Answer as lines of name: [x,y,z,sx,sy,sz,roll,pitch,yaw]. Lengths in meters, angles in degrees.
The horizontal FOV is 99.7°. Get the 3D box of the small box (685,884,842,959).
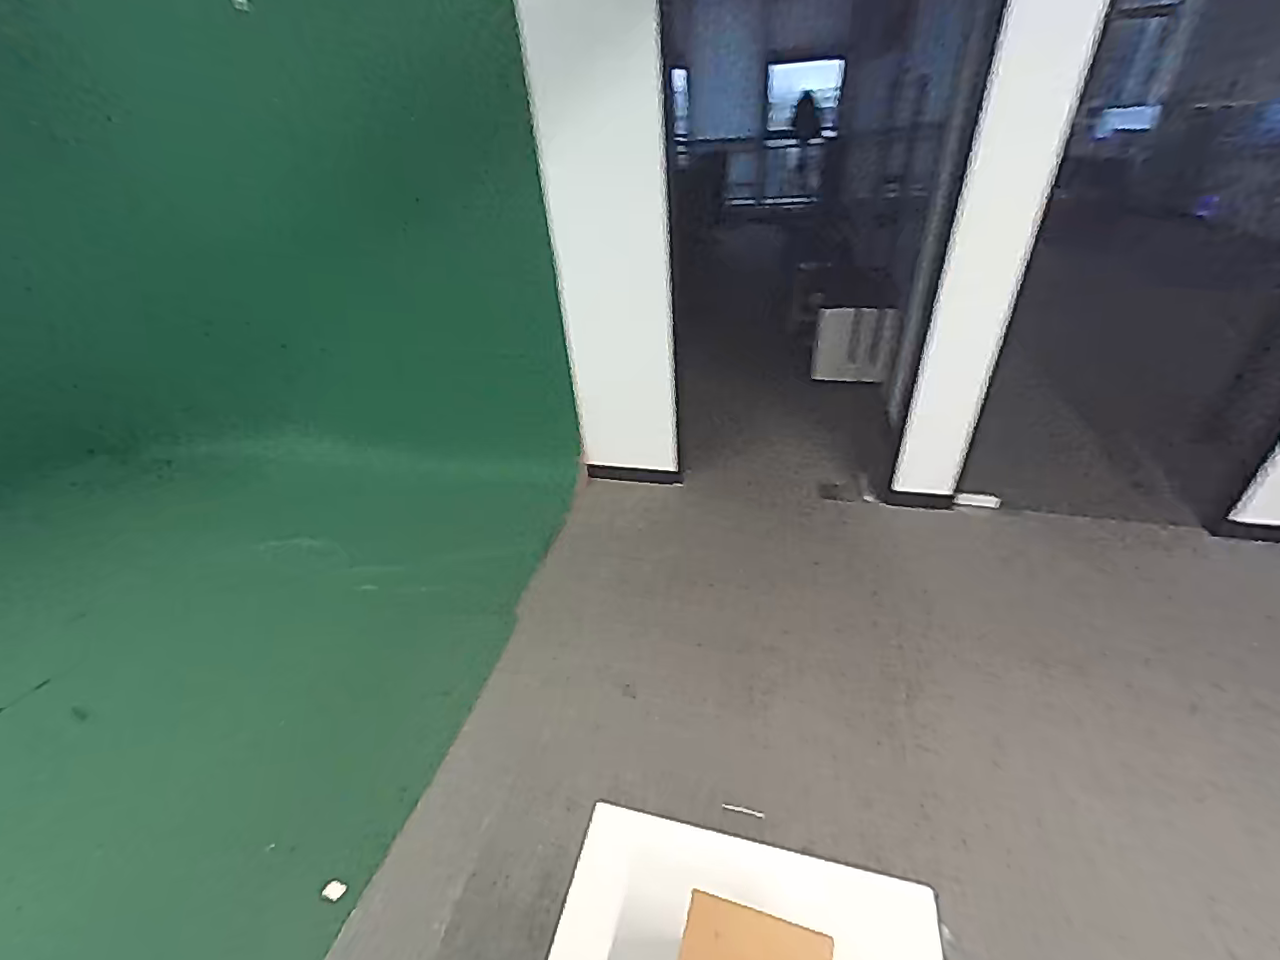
small box: [0.126,0.610,0.606,0.168,0.176,0.179,7,36,17]
